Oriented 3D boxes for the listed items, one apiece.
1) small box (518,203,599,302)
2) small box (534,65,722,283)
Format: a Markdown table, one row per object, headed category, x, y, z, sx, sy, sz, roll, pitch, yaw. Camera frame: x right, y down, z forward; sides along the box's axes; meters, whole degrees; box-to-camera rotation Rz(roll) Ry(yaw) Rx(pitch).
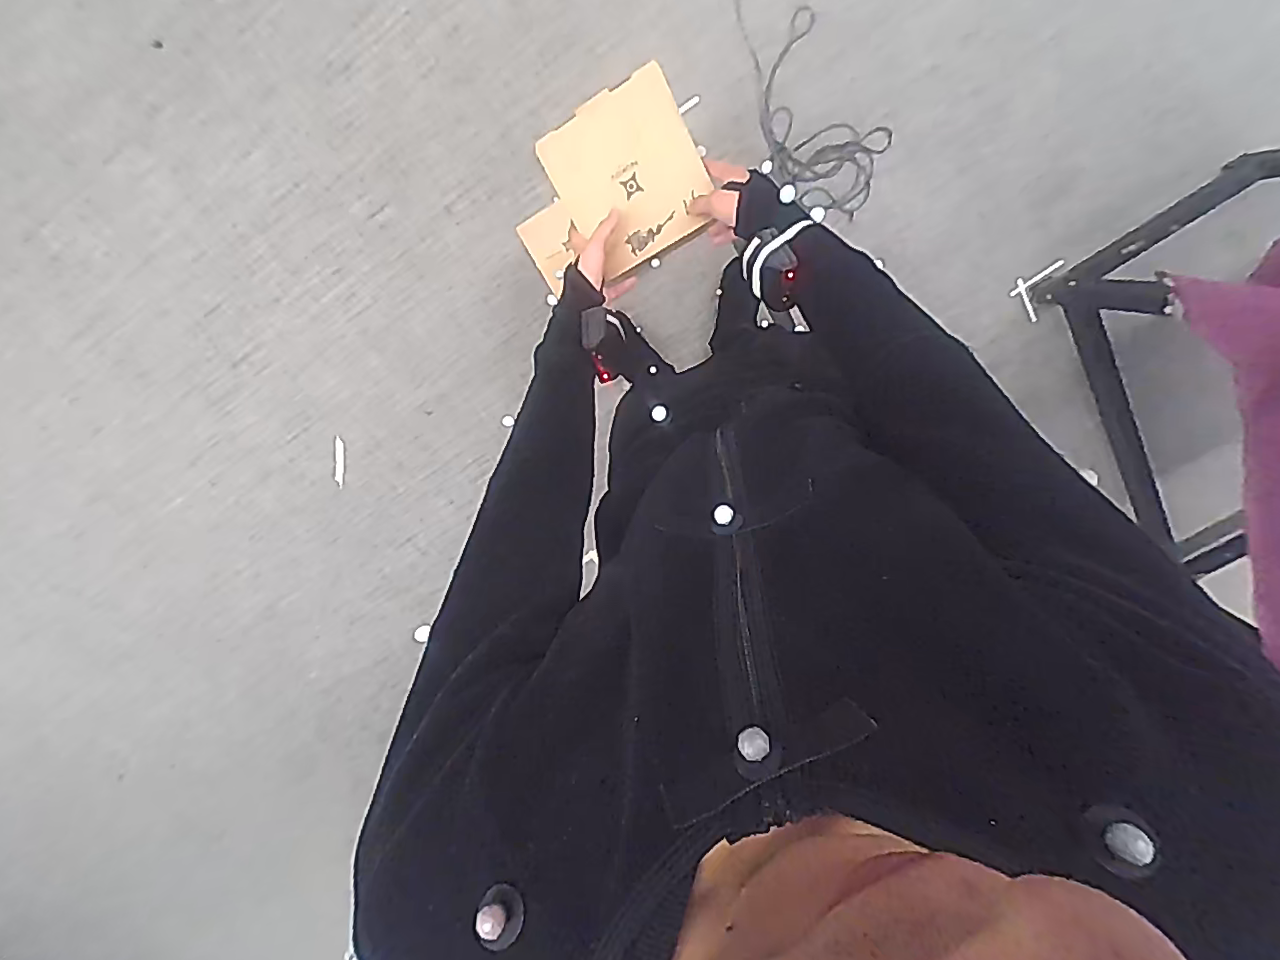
| category | x | y | z | sx | sy | sz | roll | pitch | yaw |
| --- | --- | --- | --- | --- | --- | --- | --- | --- | --- |
| small box | -0.139 | -0.515 | 1.189 | 0.179 | 0.176 | 0.168 | -27 | 110 | 11 |
| small box | -0.006 | -0.374 | 0.700 | 0.168 | 0.176 | 0.179 | -25 | 107 | 17 |
